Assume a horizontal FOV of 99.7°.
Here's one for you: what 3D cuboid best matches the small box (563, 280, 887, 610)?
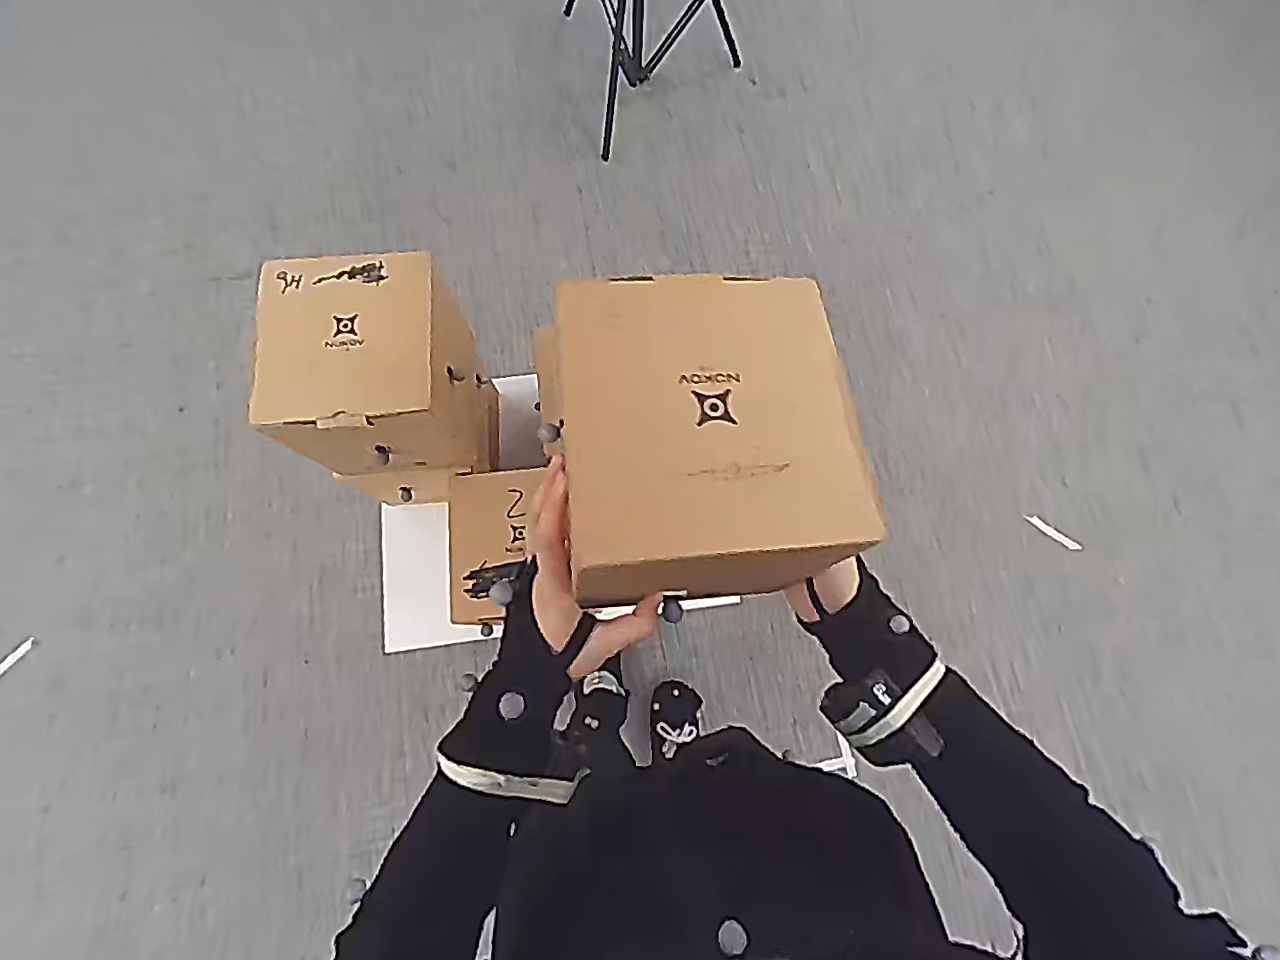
[{"bbox_3d":[0.033,-0.015,0.380,0.168,0.176,0.179,-4,70,-9],"label":"small box"}]

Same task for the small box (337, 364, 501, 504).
[{"bbox_3d":[-0.292,-0.066,0.748,0.168,0.176,0.179,-4,76,-3],"label":"small box"}]

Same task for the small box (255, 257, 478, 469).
[{"bbox_3d":[-0.280,-0.114,0.592,0.168,0.176,0.179,-5,76,-4],"label":"small box"}]
